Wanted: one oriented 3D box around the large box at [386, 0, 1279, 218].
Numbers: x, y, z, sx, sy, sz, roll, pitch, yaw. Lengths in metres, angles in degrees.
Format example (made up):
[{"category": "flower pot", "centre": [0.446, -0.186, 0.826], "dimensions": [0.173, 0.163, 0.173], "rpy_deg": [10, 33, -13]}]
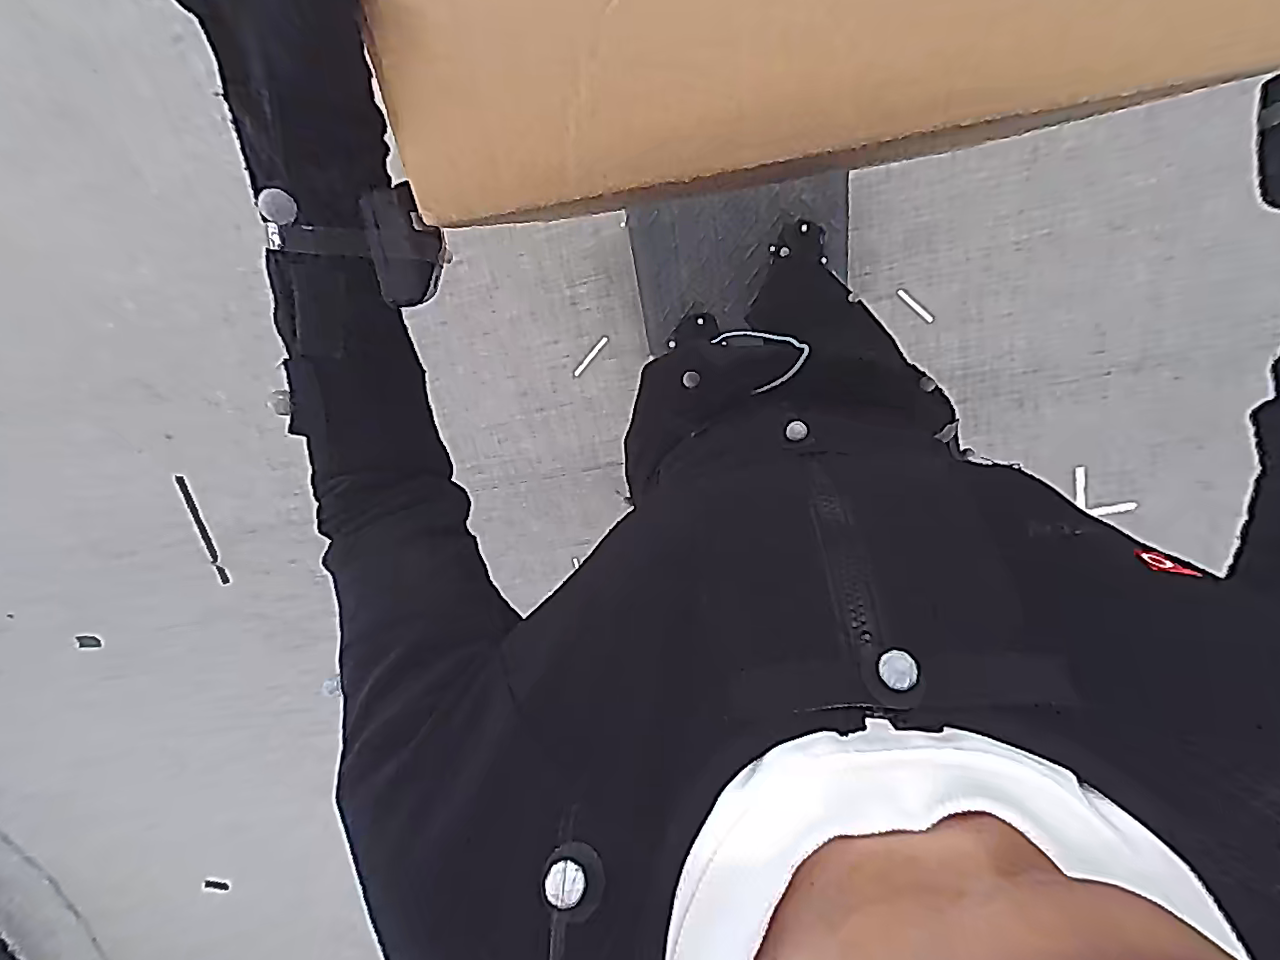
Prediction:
[{"category": "large box", "centre": [0.075, -0.367, 0.331], "dimensions": [0.408, 0.320, 0.320], "rpy_deg": [-7, 116, 8]}]
